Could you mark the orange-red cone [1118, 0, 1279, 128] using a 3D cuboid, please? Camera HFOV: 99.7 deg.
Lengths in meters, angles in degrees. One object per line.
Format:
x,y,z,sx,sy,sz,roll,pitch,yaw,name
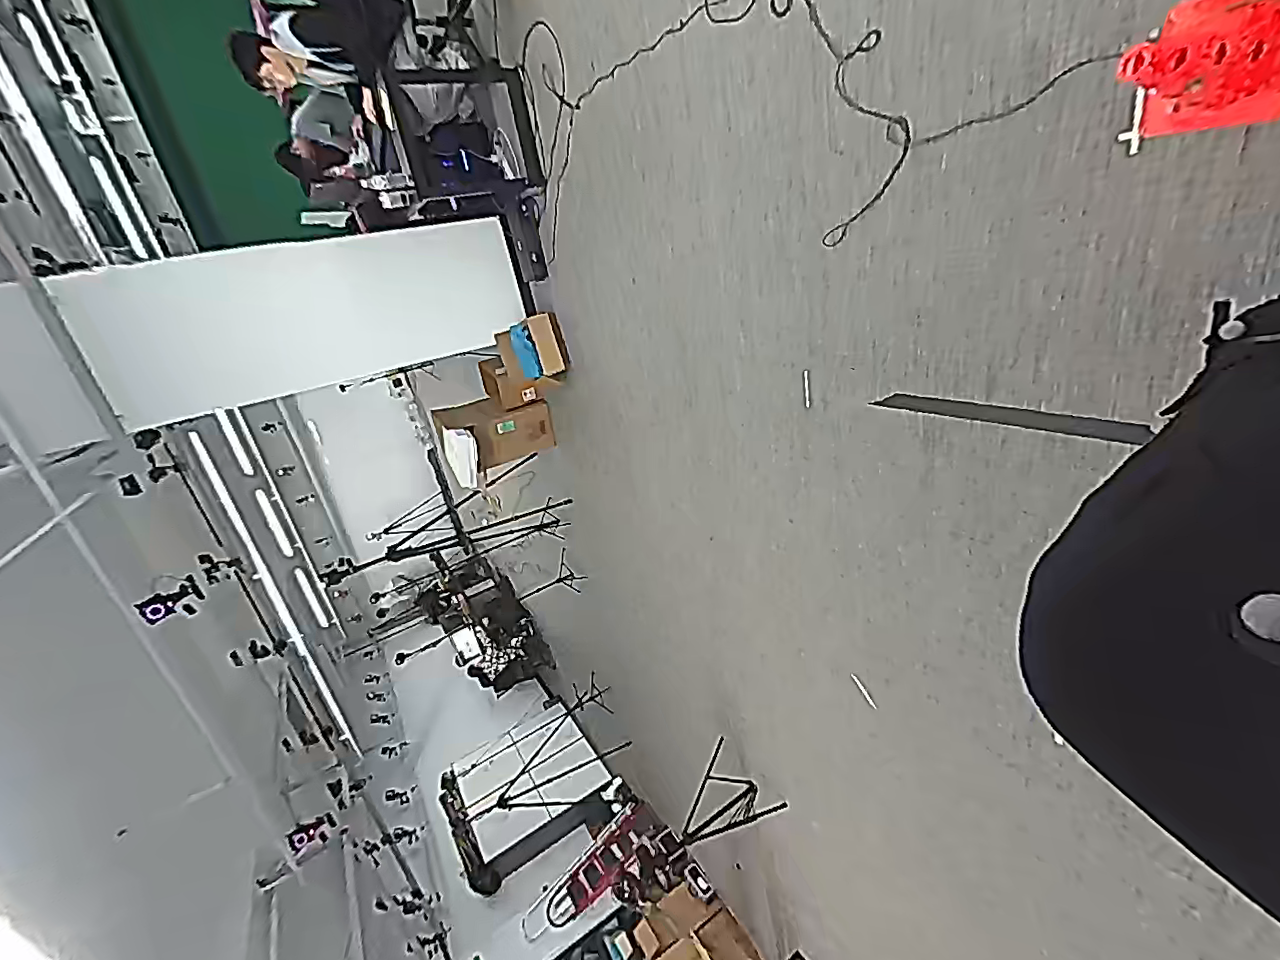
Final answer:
0.840,-0.652,0.831,0.199,0.360,0.198,32,138,49,orange-red cone
